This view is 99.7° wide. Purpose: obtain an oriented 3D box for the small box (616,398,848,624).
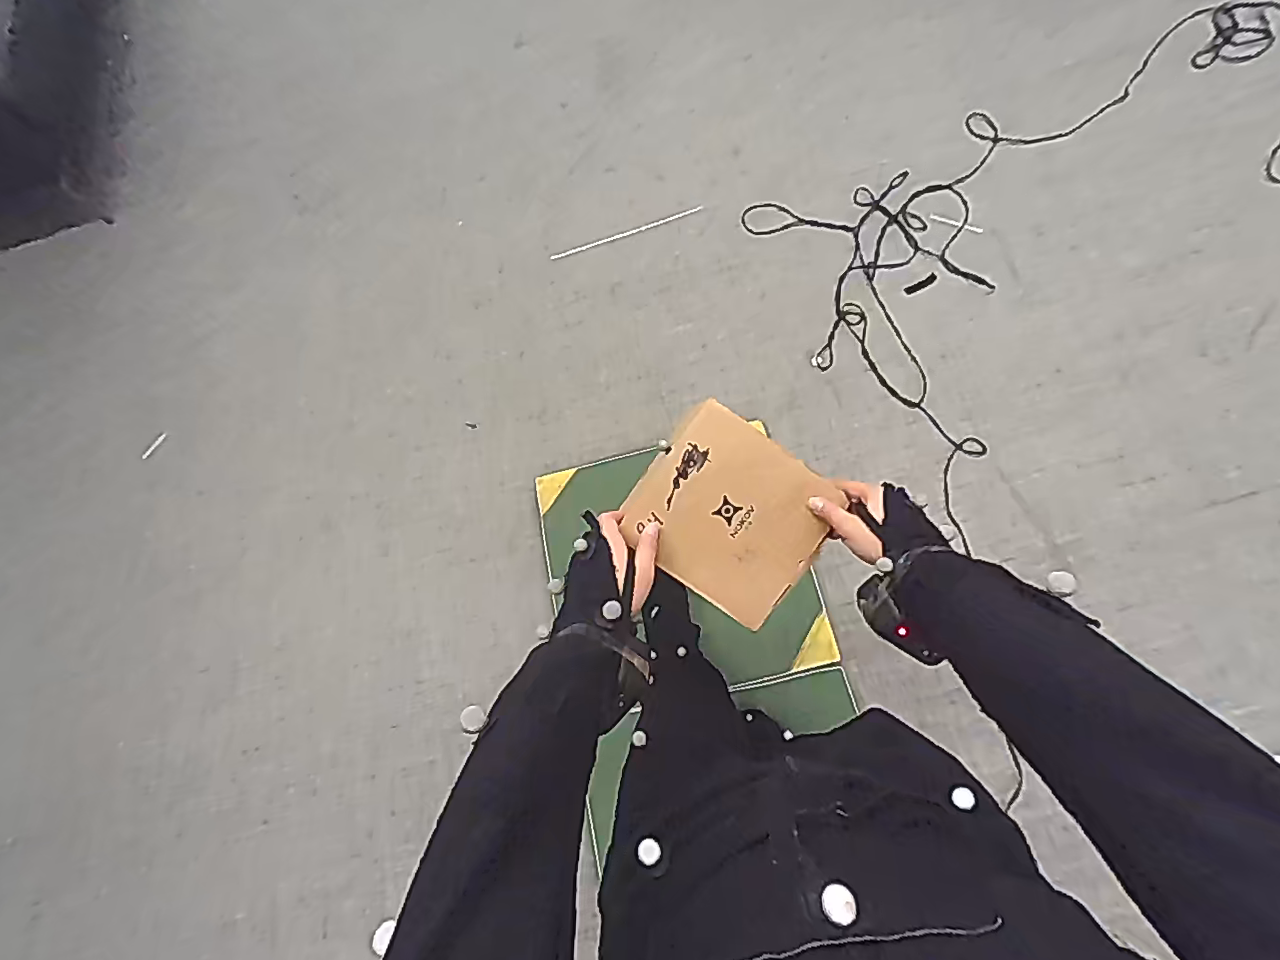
[{"bbox_3d":[0.091,0.027,0.614,0.179,0.176,0.168,36,92,-2],"label":"small box"}]
